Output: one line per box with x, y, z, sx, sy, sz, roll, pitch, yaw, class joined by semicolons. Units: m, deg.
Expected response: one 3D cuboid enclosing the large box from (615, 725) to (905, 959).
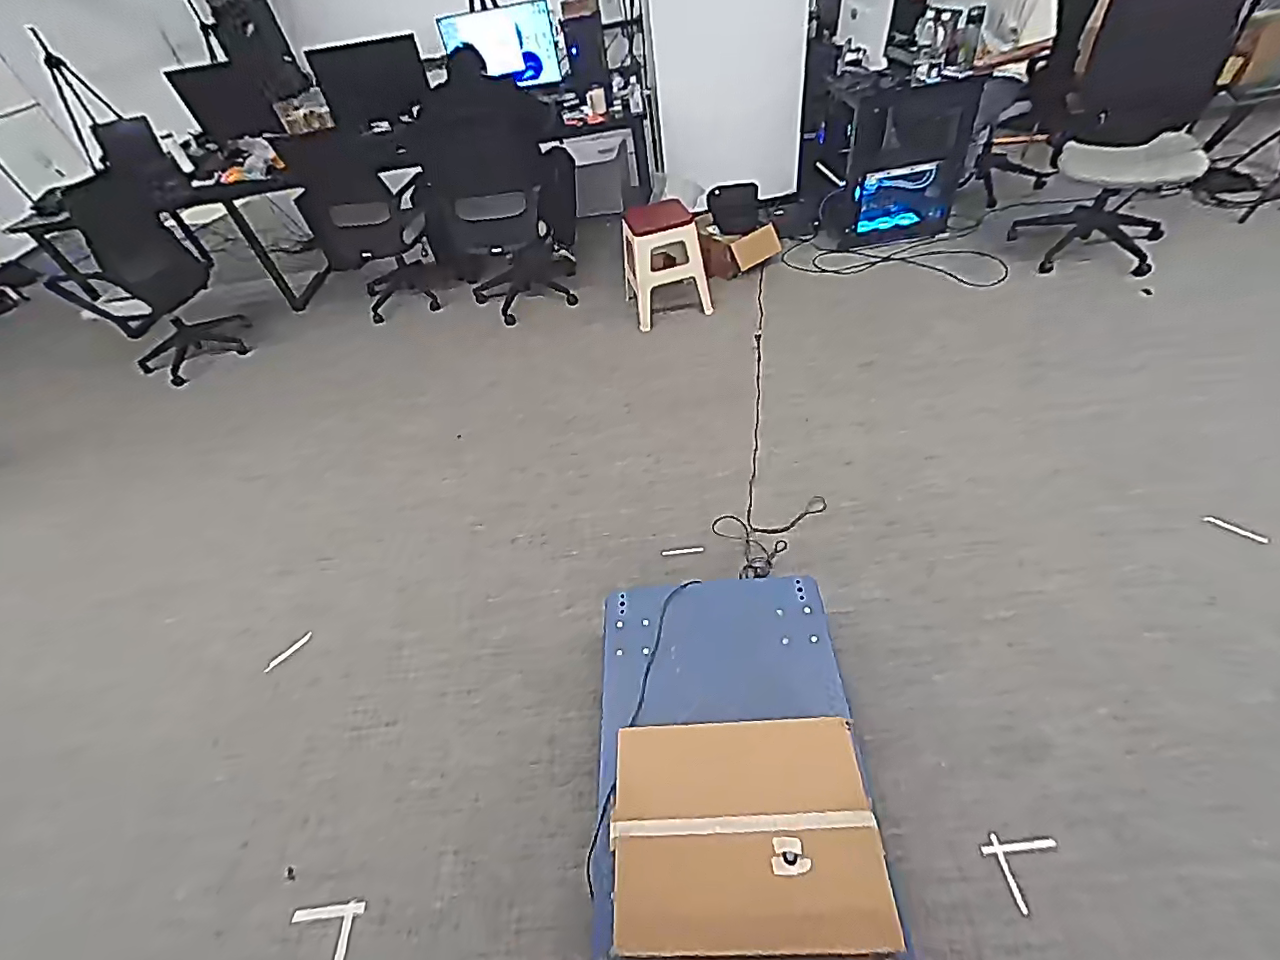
0.175;0.653;0.945;0.408;0.320;0.320;-6;47;5;large box
